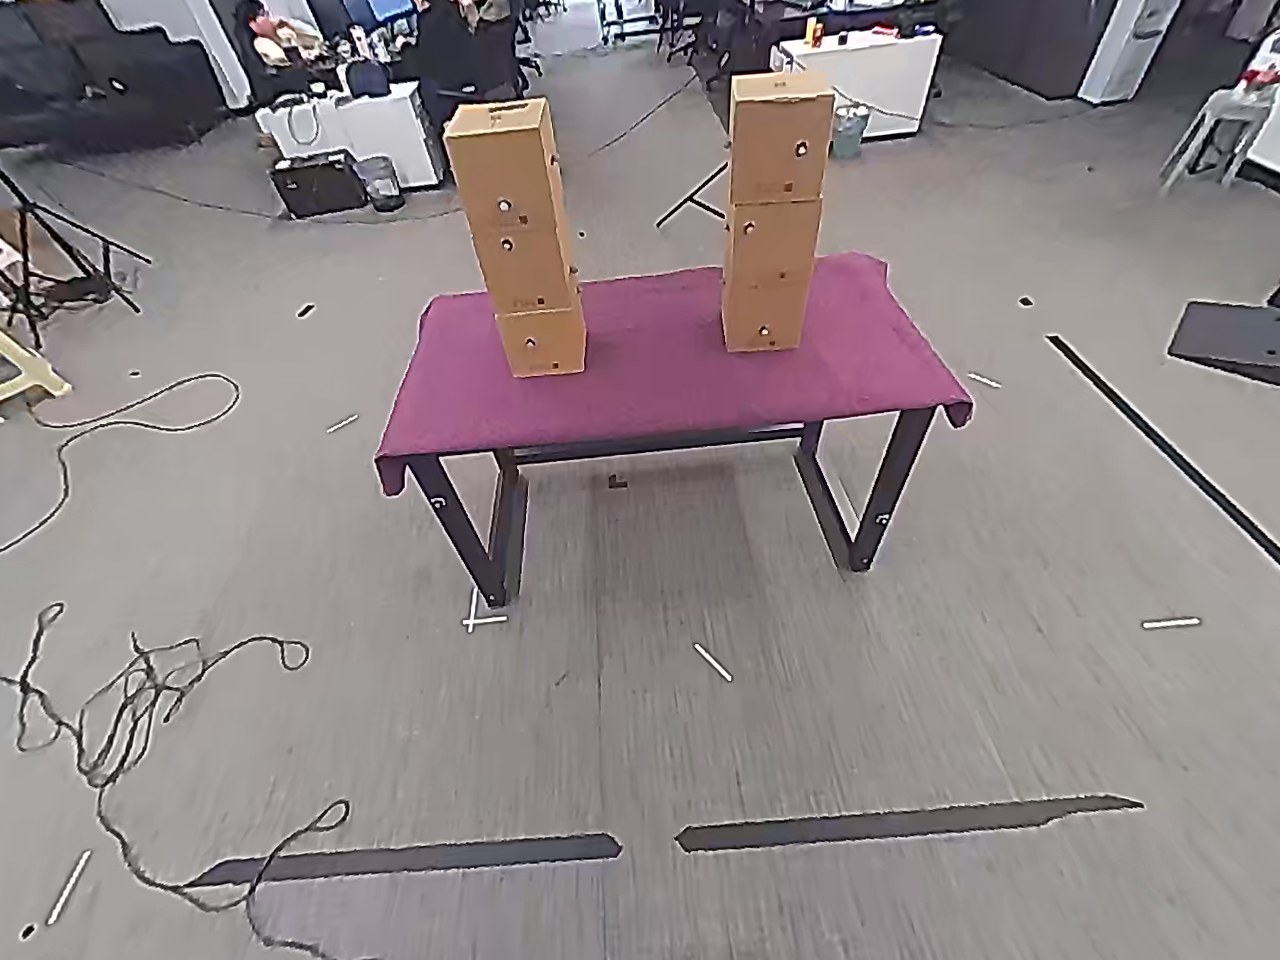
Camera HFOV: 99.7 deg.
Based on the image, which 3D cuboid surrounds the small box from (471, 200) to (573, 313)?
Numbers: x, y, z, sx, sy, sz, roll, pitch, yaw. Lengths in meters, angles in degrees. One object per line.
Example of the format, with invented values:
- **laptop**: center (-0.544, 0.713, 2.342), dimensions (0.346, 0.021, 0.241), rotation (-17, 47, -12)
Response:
- **small box**: center (-0.237, -0.471, 1.135), dimensions (0.168, 0.176, 0.179), rotation (-6, 47, 1)

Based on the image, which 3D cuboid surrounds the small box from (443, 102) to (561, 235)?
- **small box**: center (-0.245, -0.580, 1.011), dimensions (0.168, 0.176, 0.179), rotation (-5, 48, 2)

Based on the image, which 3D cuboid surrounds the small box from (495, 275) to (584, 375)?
- **small box**: center (-0.224, -0.357, 1.252), dimensions (0.168, 0.176, 0.179), rotation (-5, 47, 2)

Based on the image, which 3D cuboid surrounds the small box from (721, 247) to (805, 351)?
- **small box**: center (0.276, -0.418, 1.253), dimensions (0.168, 0.176, 0.179), rotation (-2, 48, 5)

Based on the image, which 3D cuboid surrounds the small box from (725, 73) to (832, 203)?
- **small box**: center (0.247, -0.631, 1.007), dimensions (0.168, 0.176, 0.179), rotation (0, 47, 5)
